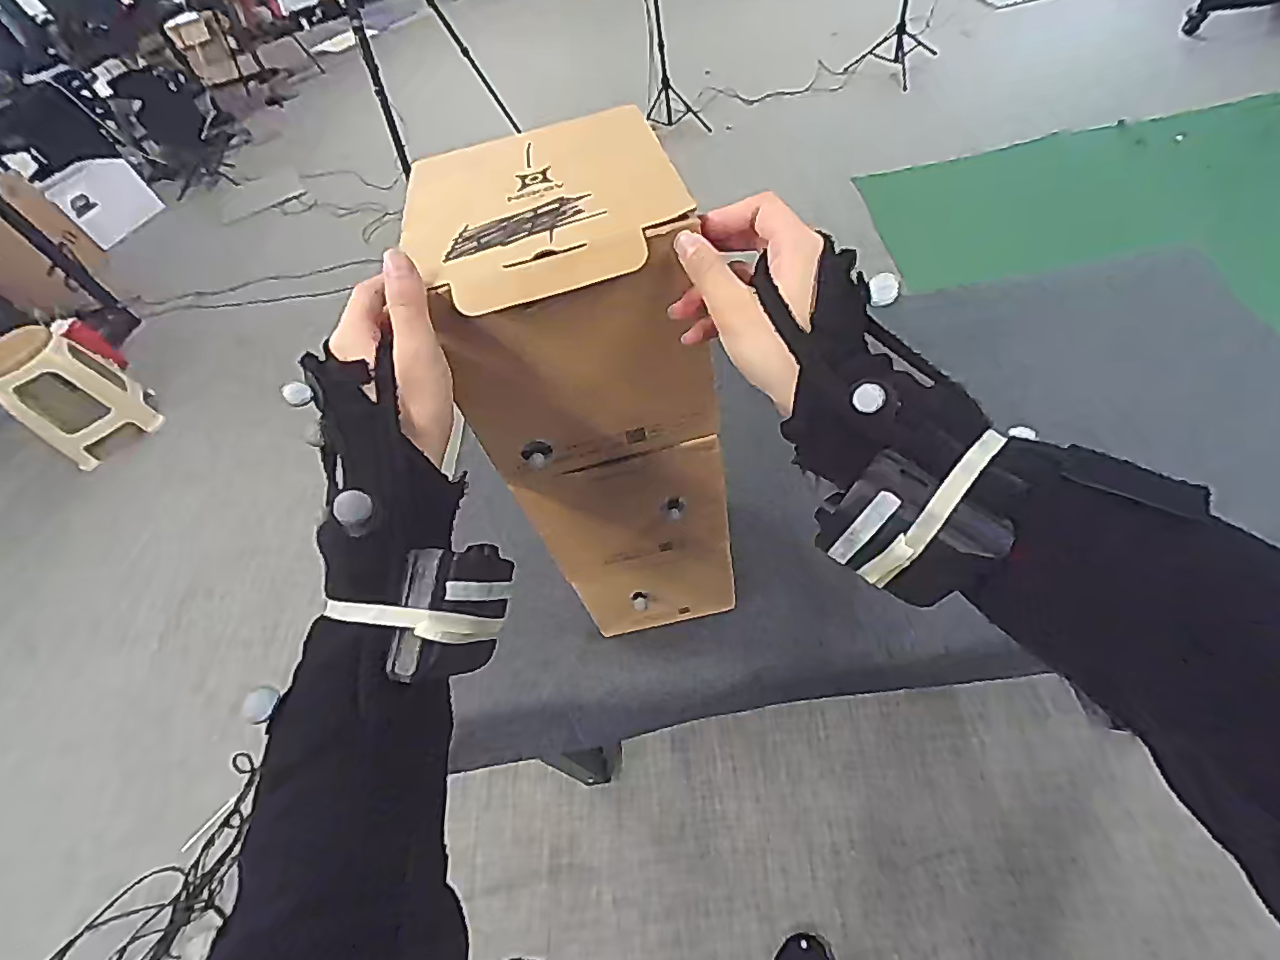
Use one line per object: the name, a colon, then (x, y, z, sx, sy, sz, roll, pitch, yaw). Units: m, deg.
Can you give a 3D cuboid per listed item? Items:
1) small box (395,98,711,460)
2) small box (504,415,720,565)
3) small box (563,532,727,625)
small box: (-0.050, -0.133, 0.389, 0.168, 0.176, 0.179, -14, 51, 0)
small box: (-0.023, -0.034, 0.519, 0.168, 0.176, 0.179, -13, 51, 1)
small box: (0.005, 0.059, 0.649, 0.168, 0.176, 0.179, -13, 52, 2)
